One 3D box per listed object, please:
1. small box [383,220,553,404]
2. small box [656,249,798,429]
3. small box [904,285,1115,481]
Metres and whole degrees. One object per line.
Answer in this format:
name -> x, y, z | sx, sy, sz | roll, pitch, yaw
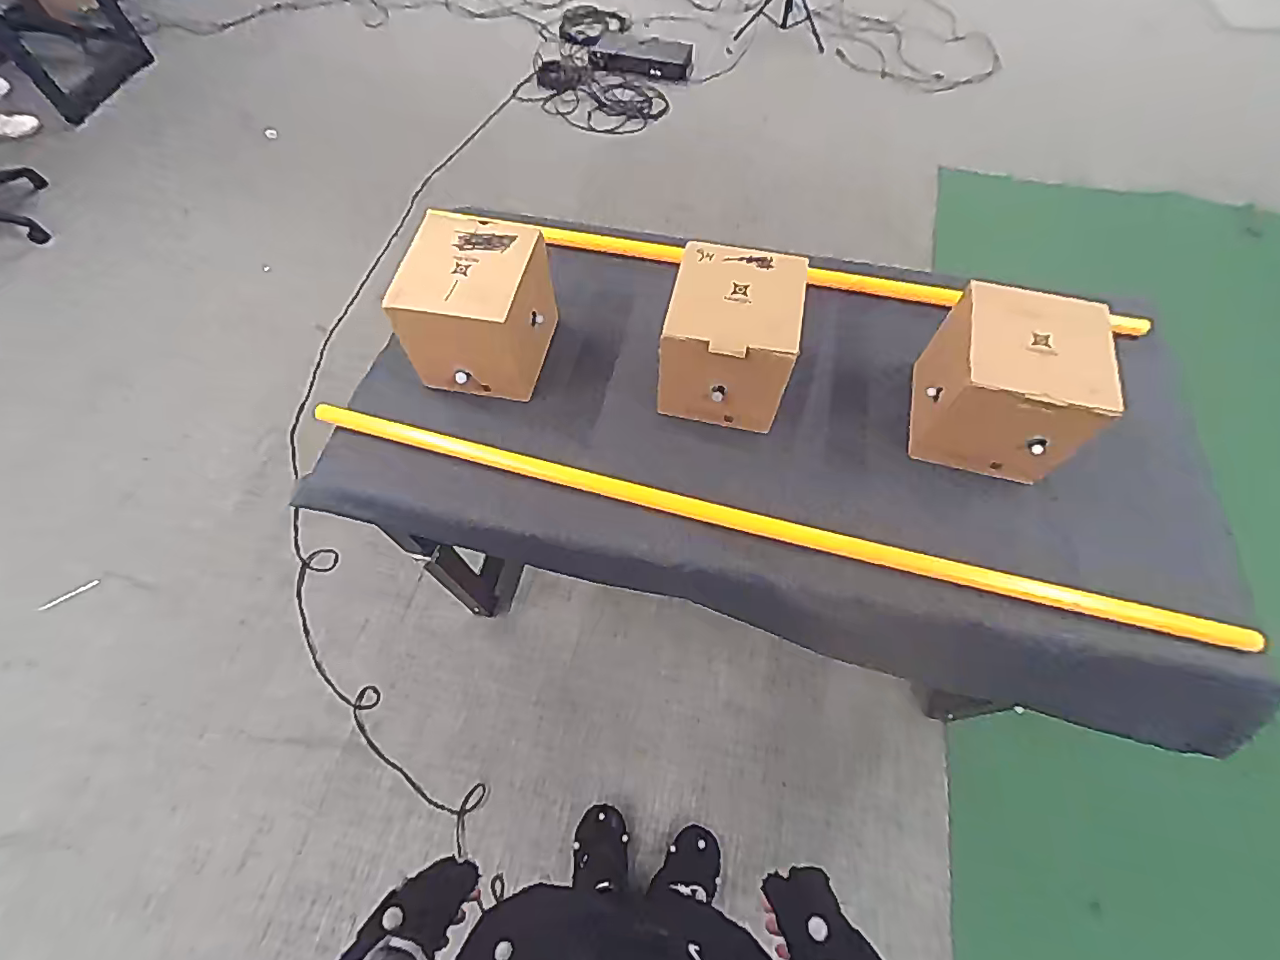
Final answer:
small box -> -0.230, -0.238, 0.783 | 0.168, 0.176, 0.179 | 9, 63, 5
small box -> 0.119, -0.191, 0.759 | 0.168, 0.176, 0.179 | 8, 61, 6
small box -> 0.470, -0.122, 0.717 | 0.168, 0.176, 0.179 | 14, 61, 7
